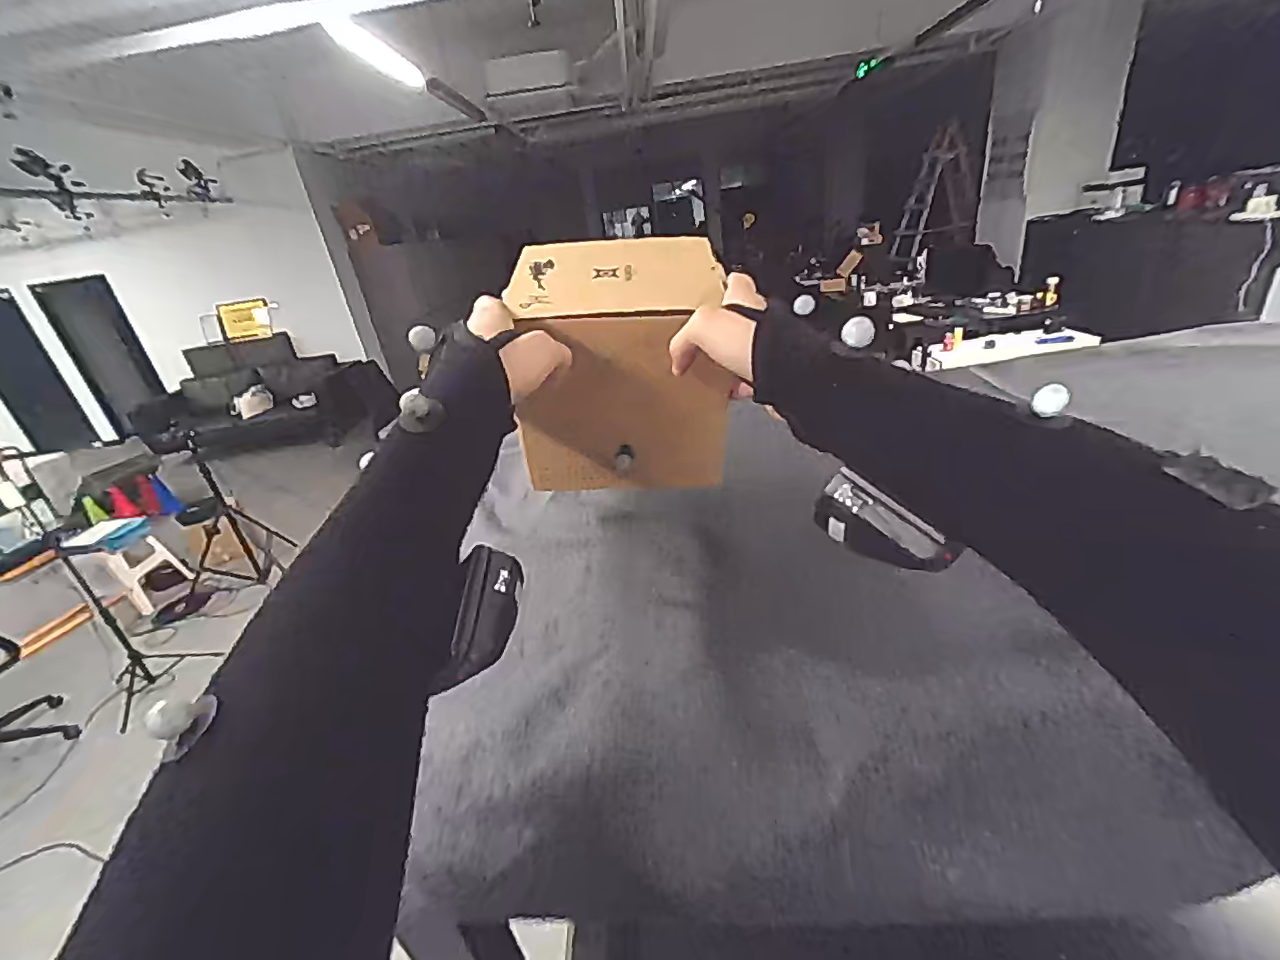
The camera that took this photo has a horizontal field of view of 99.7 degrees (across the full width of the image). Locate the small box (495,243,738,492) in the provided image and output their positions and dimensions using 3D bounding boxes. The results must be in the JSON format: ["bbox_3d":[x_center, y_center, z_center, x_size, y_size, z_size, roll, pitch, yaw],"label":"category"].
[{"bbox_3d":[-0.017,-0.102,0.494,0.179,0.176,0.168,-2,40,0],"label":"small box"}]
